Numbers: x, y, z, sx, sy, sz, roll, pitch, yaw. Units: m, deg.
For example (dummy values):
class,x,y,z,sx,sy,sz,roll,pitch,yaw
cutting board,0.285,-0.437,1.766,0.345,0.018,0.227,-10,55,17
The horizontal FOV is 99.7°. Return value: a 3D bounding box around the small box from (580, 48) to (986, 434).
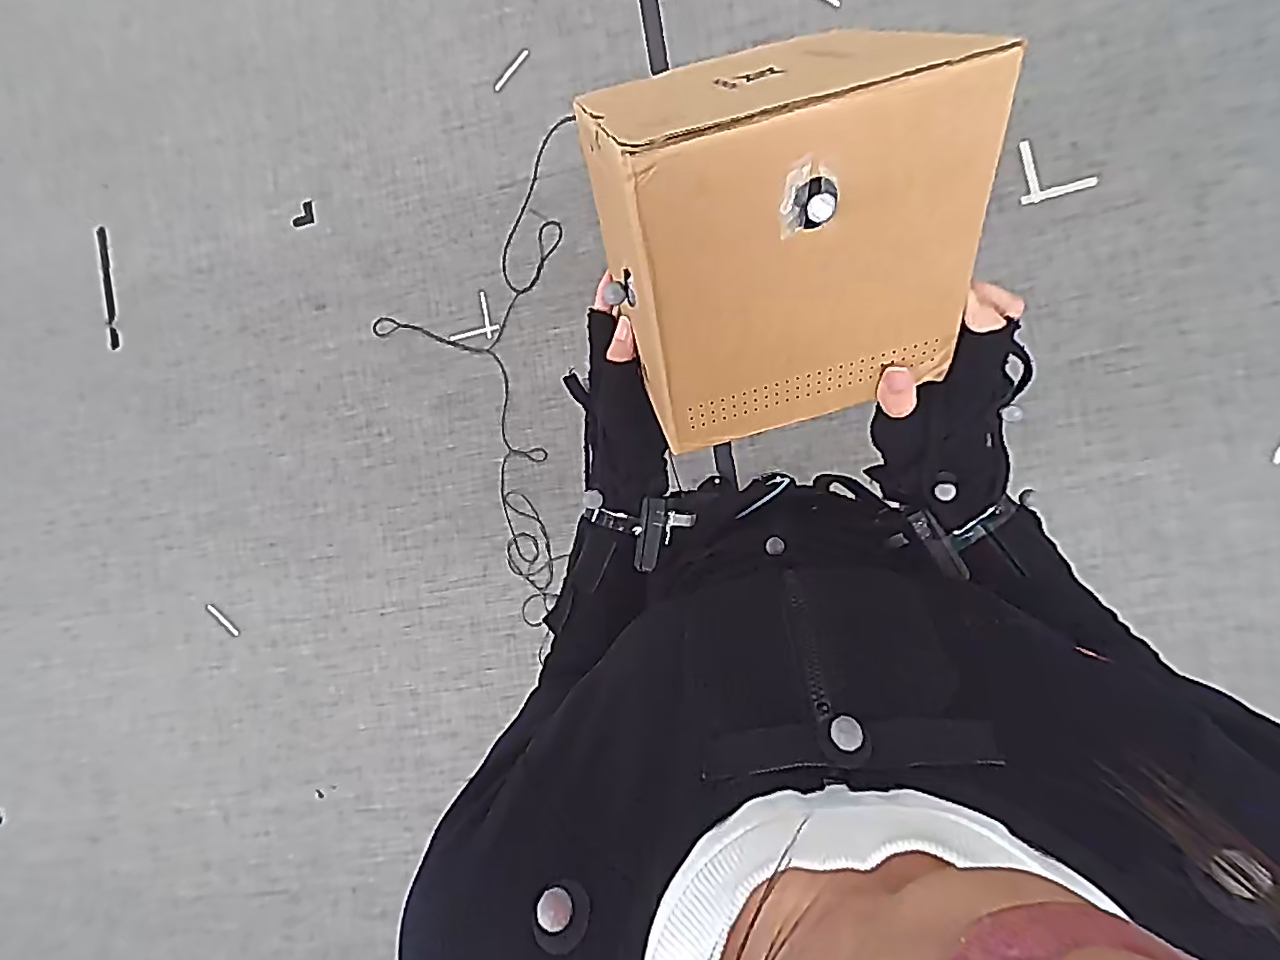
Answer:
class,x,y,z,sx,sy,sz,roll,pitch,yaw
small box,0.074,-0.152,0.350,0.179,0.168,0.176,-15,132,-2
